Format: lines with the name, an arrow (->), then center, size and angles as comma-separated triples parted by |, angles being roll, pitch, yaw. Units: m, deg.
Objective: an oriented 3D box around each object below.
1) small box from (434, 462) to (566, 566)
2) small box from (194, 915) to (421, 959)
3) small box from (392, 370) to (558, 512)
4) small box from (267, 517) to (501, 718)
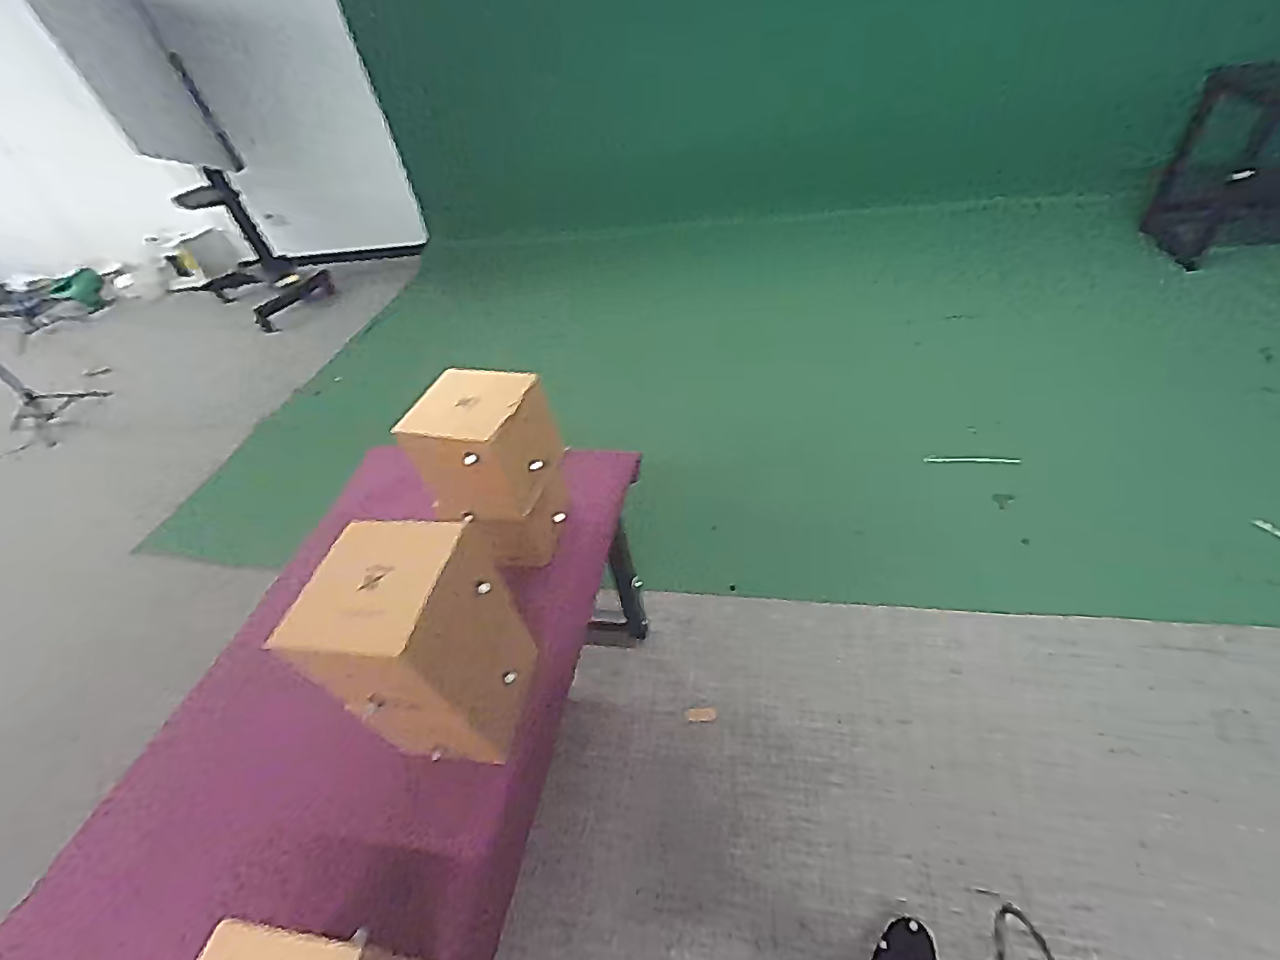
small box -> -0.252, 0.041, 1.025 | 0.168, 0.176, 0.179 | -1, 45, 14
small box -> -0.340, 0.551, 0.515 | 0.168, 0.176, 0.179 | -1, 44, 13
small box -> -0.261, -0.064, 0.898 | 0.179, 0.176, 0.168 | 7, 47, 18
small box -> -0.291, 0.166, 0.666 | 0.168, 0.176, 0.179 | 0, 45, 14
